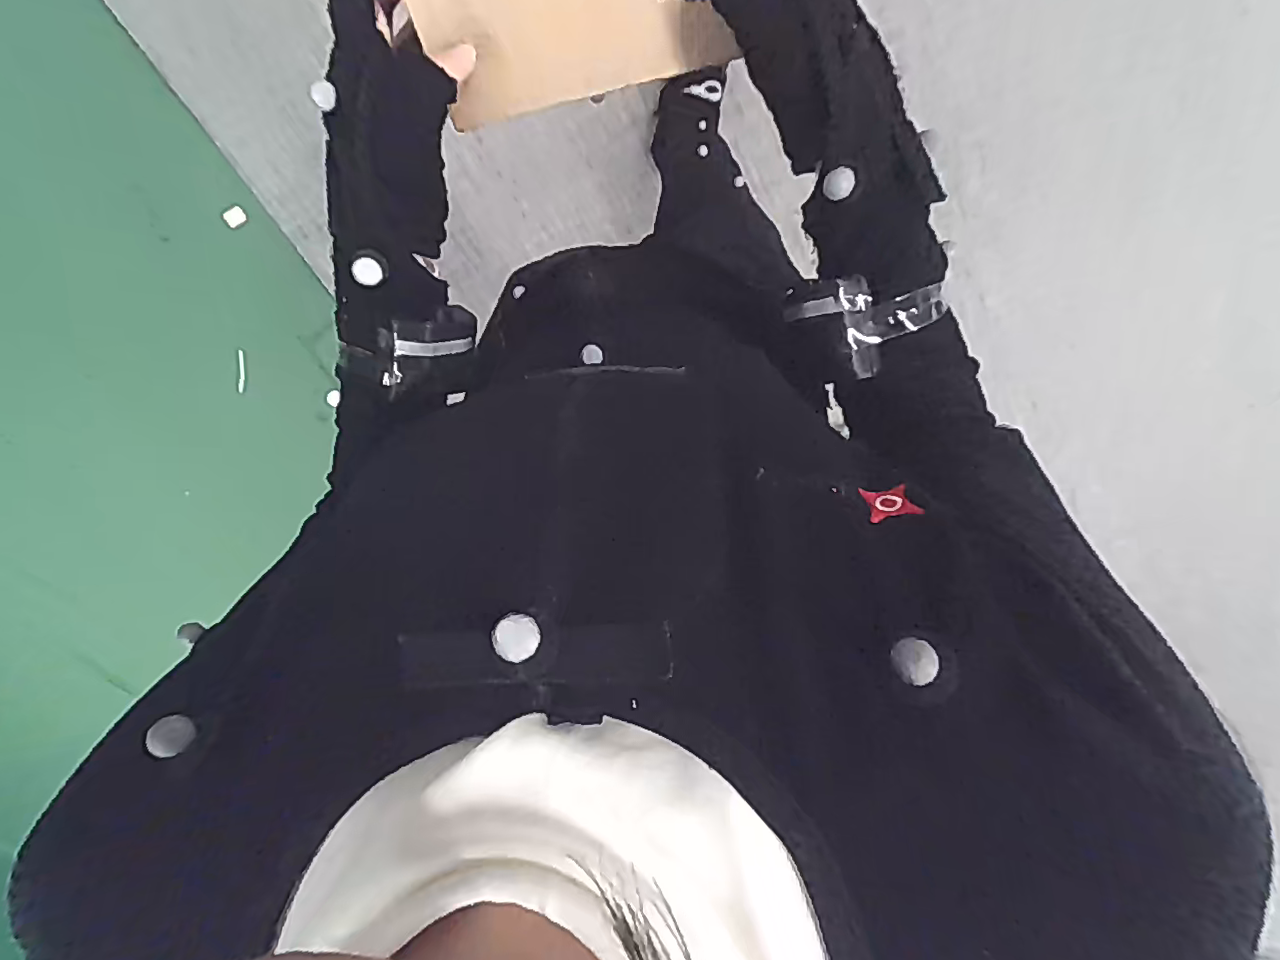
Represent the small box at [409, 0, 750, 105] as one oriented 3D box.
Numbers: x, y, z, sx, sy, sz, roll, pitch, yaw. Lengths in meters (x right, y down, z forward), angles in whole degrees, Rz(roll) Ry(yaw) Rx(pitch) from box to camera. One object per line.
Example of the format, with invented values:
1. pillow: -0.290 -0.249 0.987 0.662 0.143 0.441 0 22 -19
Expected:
1. small box: -0.040 -0.338 0.303 0.179 0.176 0.168 -7 133 7
